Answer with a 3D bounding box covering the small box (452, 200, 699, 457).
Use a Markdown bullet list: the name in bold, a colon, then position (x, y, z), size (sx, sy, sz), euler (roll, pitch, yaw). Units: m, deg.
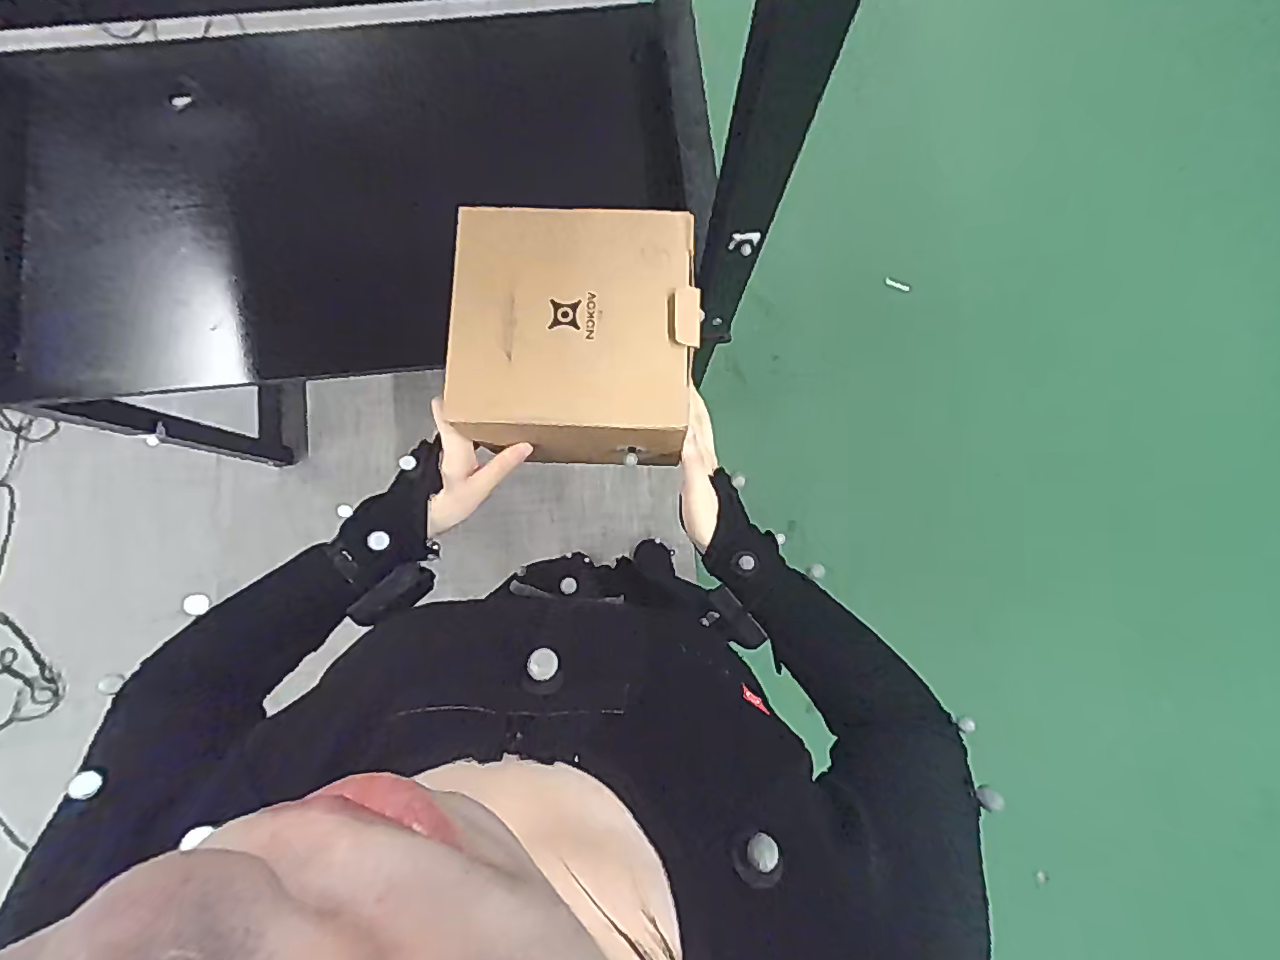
- **small box**: position (-0.044, -0.116, 0.474), size (0.179, 0.176, 0.168), euler (1, 82, 2)
